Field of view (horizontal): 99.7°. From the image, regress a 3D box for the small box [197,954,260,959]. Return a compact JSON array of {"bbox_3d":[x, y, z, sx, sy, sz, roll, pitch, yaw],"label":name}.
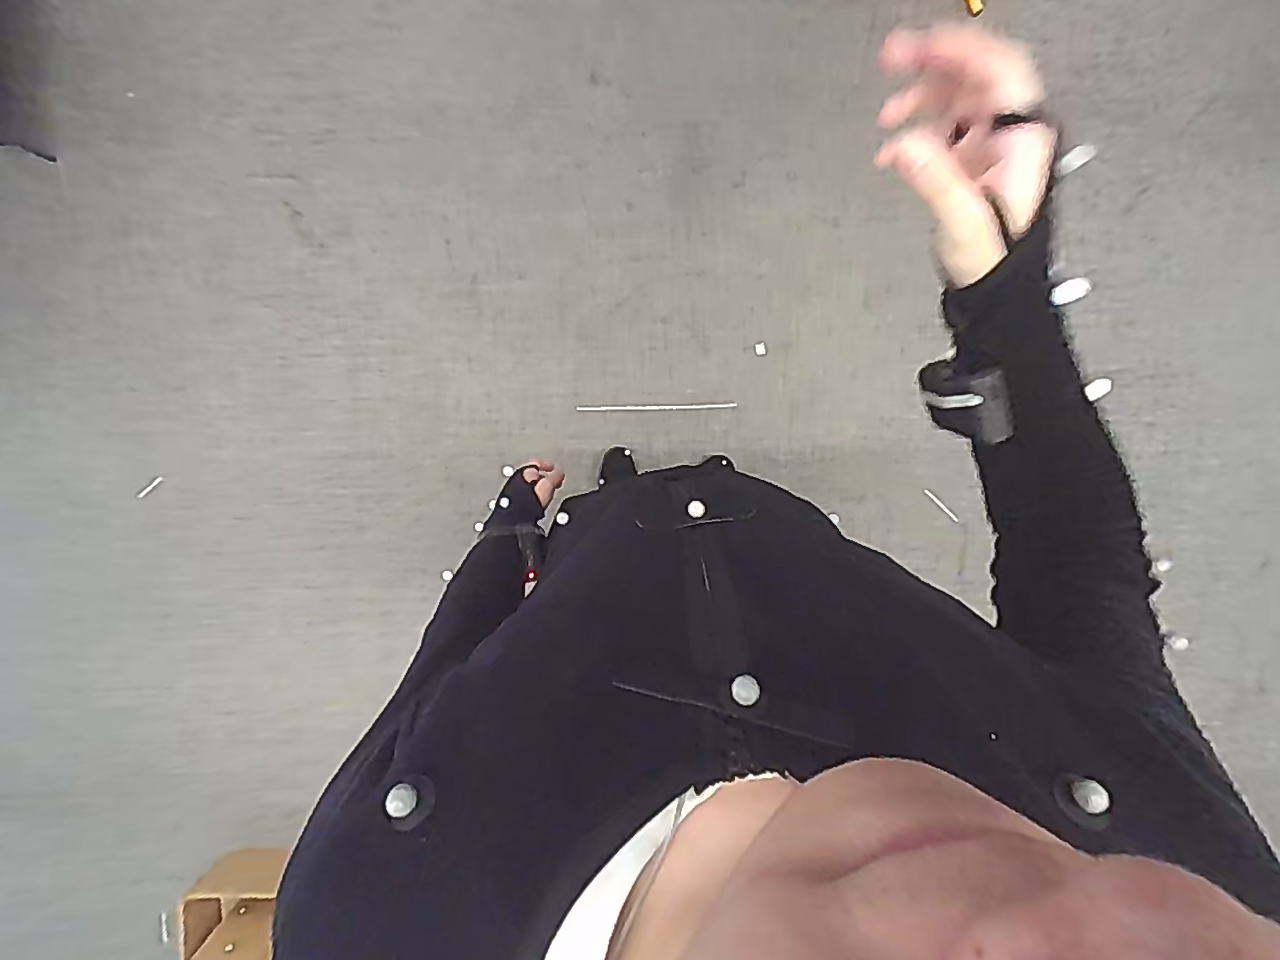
[{"bbox_3d":[-1.117,1.366,1.386,0.179,0.176,0.168,0,94,0],"label":"small box"}]
